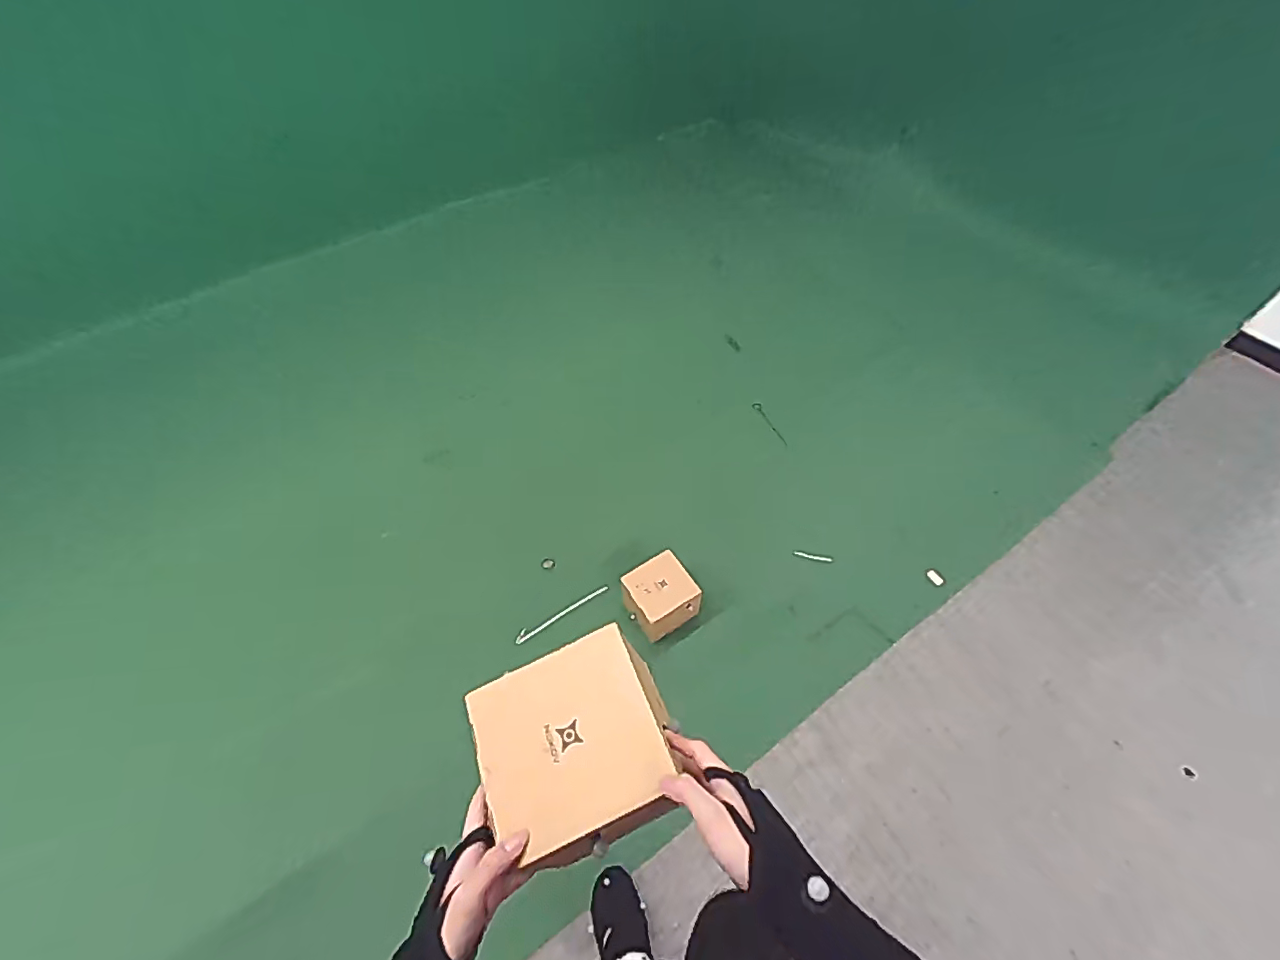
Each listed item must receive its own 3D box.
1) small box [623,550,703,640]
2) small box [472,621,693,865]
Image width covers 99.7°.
[{"bbox_3d":[0.064,0.343,1.601,0.179,0.176,0.168,-28,58,-18],"label":"small box"},{"bbox_3d":[-0.052,0.282,0.585,0.179,0.176,0.168,-25,56,-3],"label":"small box"}]
